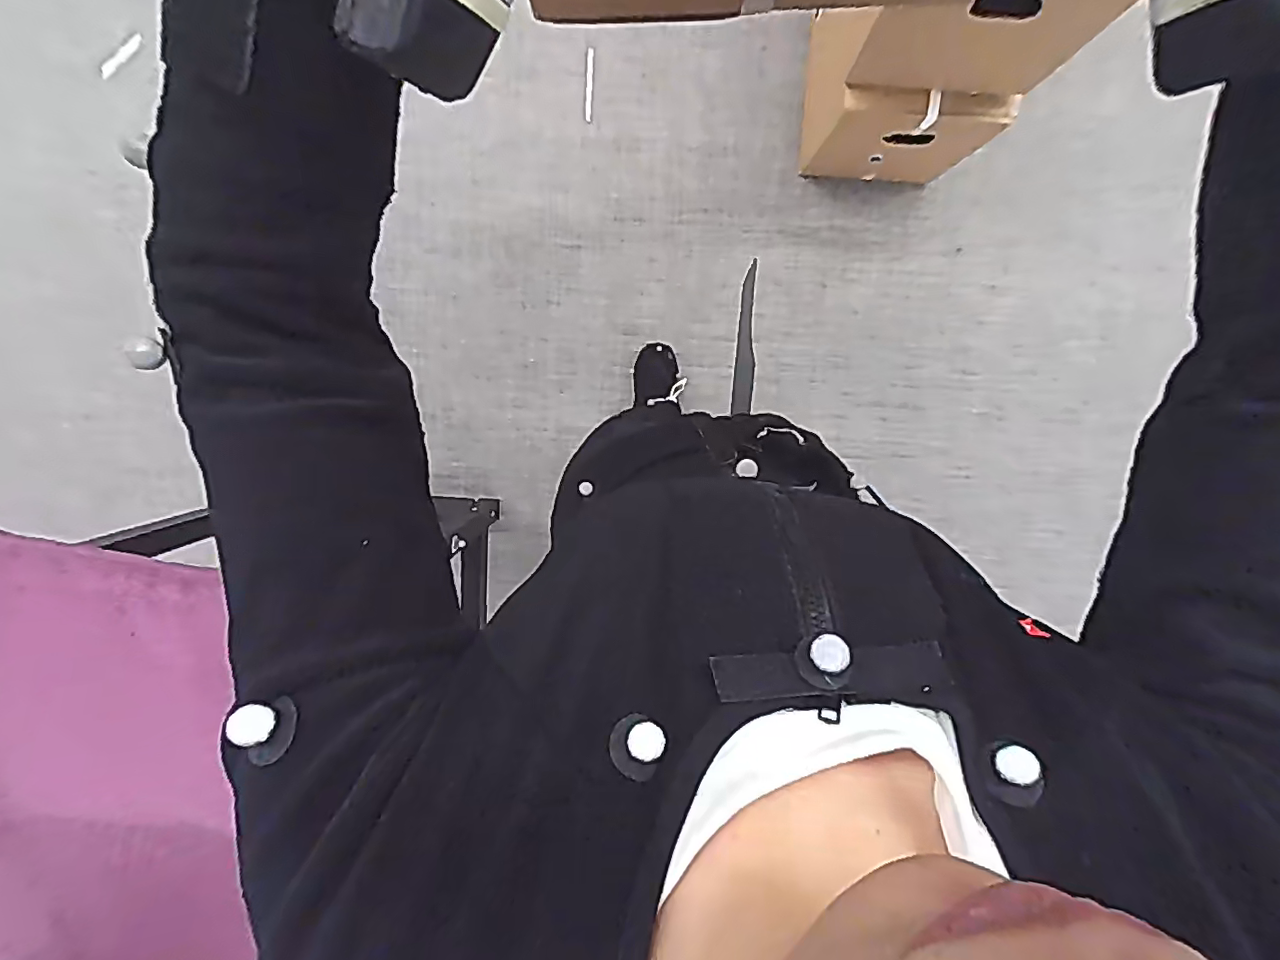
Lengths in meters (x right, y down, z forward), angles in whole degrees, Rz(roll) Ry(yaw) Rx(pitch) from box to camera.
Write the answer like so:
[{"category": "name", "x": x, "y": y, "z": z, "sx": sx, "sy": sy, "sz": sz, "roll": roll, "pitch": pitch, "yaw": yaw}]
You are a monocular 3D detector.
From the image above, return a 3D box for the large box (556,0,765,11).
[{"category": "large box", "x": 0.078, "y": -0.501, "z": 0.193, "sx": 0.320, "sy": 0.320, "sz": 0.408, "roll": -3, "pitch": 100, "yaw": 2}]
